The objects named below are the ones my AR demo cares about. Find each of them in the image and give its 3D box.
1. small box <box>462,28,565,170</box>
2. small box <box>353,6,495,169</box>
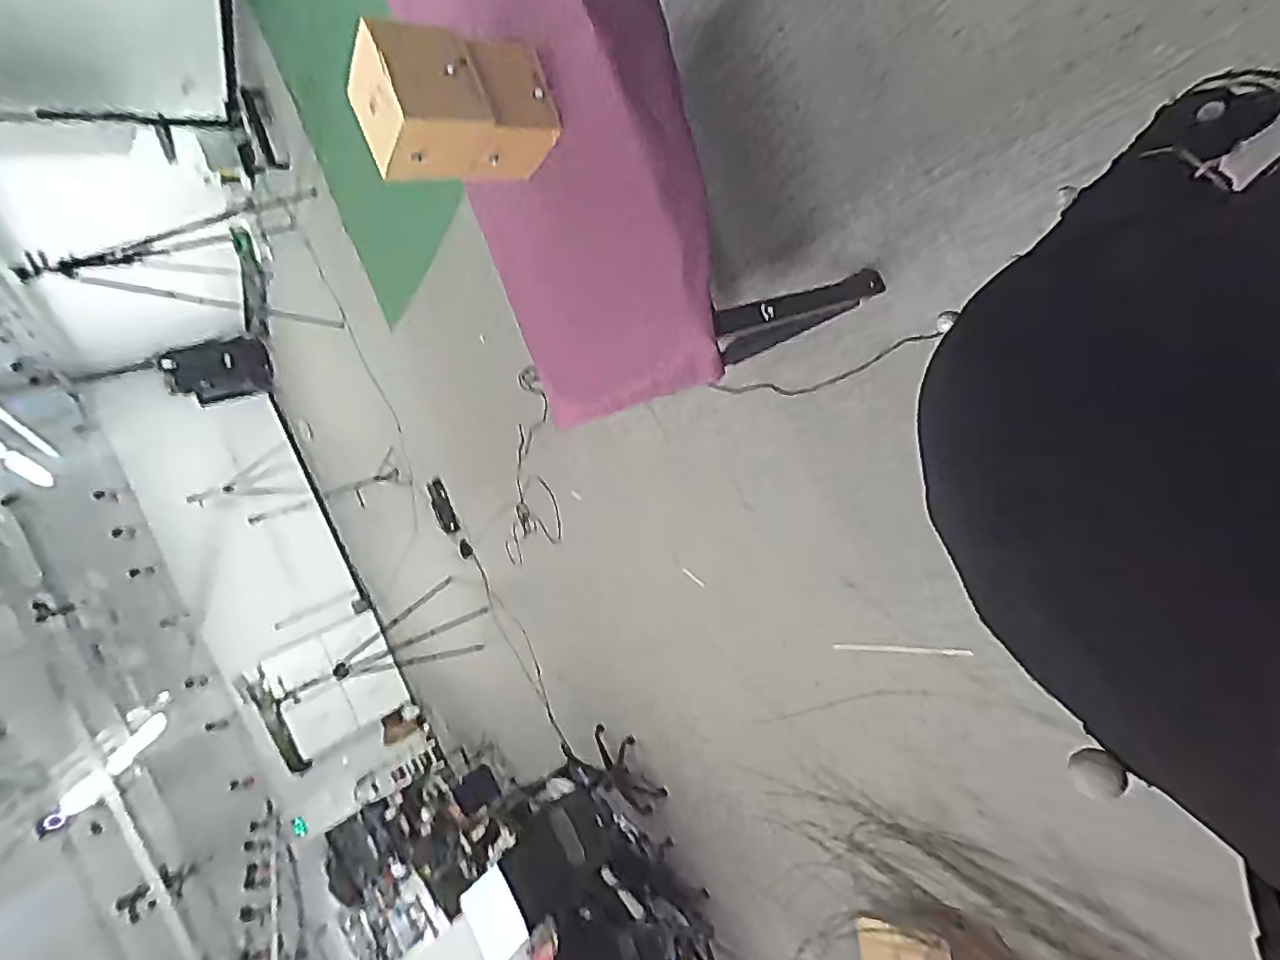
[{"bbox_3d":[-0.277,-0.745,1.080,0.179,0.176,0.168,-10,103,52],"label":"small box"},{"bbox_3d":[-0.386,-0.687,0.971,0.179,0.176,0.168,-12,101,53],"label":"small box"}]
